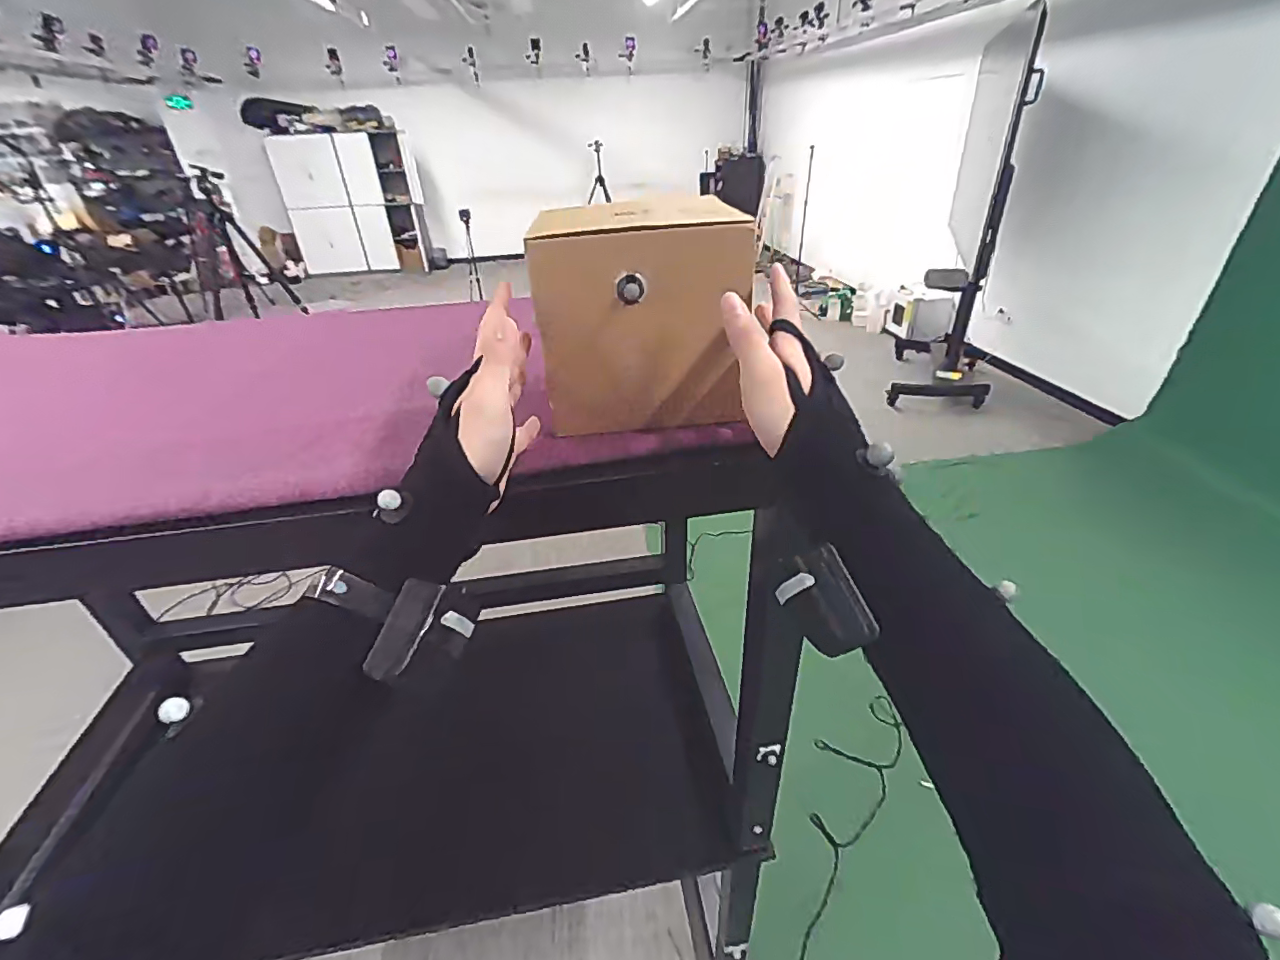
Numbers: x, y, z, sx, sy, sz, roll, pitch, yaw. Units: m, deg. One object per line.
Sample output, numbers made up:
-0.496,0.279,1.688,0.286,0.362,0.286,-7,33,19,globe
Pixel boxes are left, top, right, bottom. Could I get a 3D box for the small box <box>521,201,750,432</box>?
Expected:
-0.001,-0.155,0.509,0.179,0.176,0.168,-5,34,-1,small box
